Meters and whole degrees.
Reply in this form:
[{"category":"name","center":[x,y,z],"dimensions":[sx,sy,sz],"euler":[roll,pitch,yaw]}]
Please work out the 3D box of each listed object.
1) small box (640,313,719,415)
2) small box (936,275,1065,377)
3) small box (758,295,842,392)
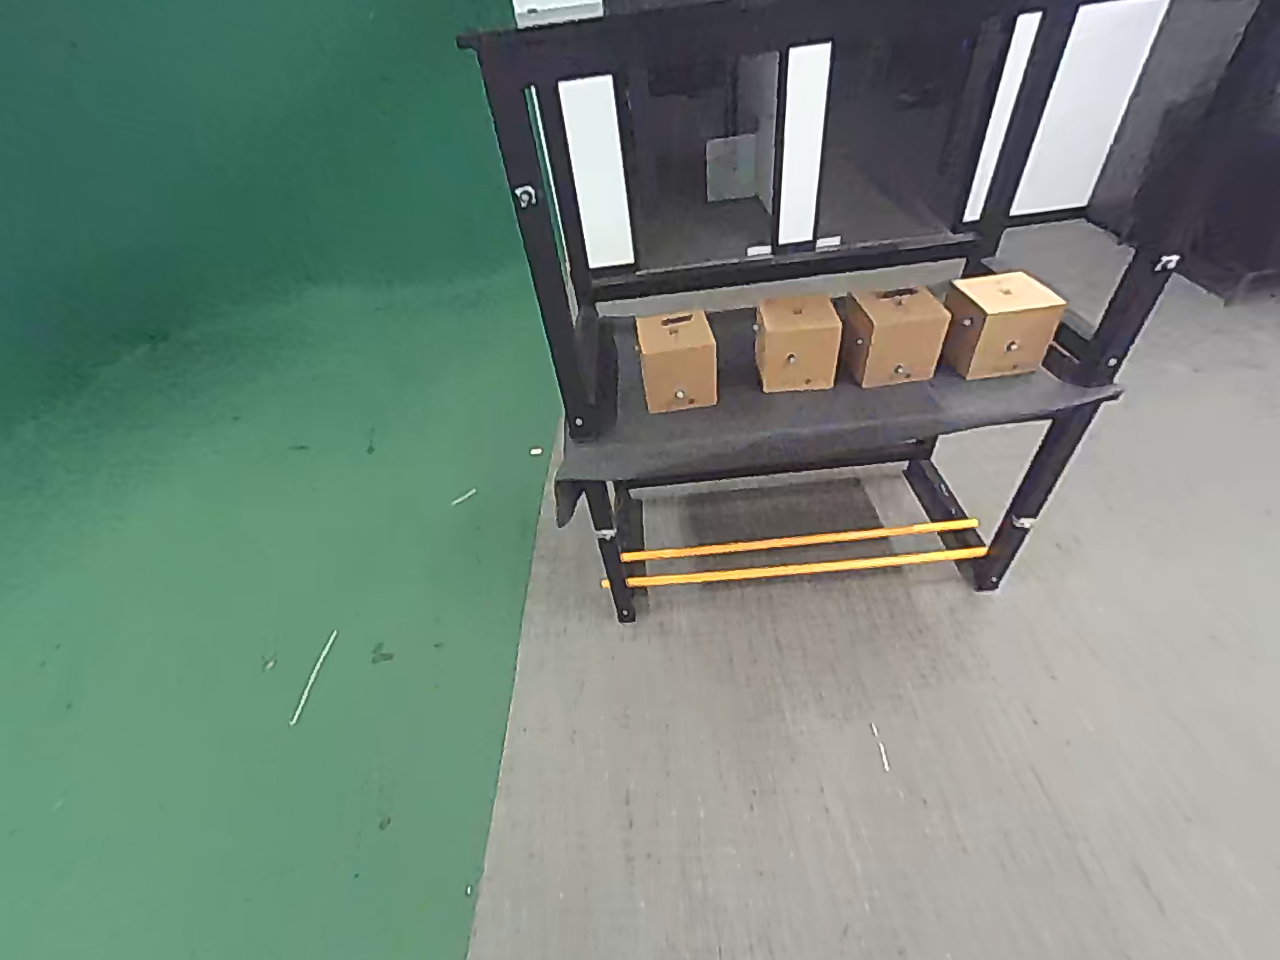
[{"category":"small box","center":[0.093,-0.279,1.302],"dimensions":[0.168,0.176,0.179],"euler":[-8,43,1]},{"category":"small box","center":[0.822,-0.351,1.255],"dimensions":[0.168,0.176,0.179],"euler":[-7,41,2]},{"category":"small box","center":[0.378,-0.324,1.307],"dimensions":[0.168,0.176,0.179],"euler":[-3,42,6]}]
